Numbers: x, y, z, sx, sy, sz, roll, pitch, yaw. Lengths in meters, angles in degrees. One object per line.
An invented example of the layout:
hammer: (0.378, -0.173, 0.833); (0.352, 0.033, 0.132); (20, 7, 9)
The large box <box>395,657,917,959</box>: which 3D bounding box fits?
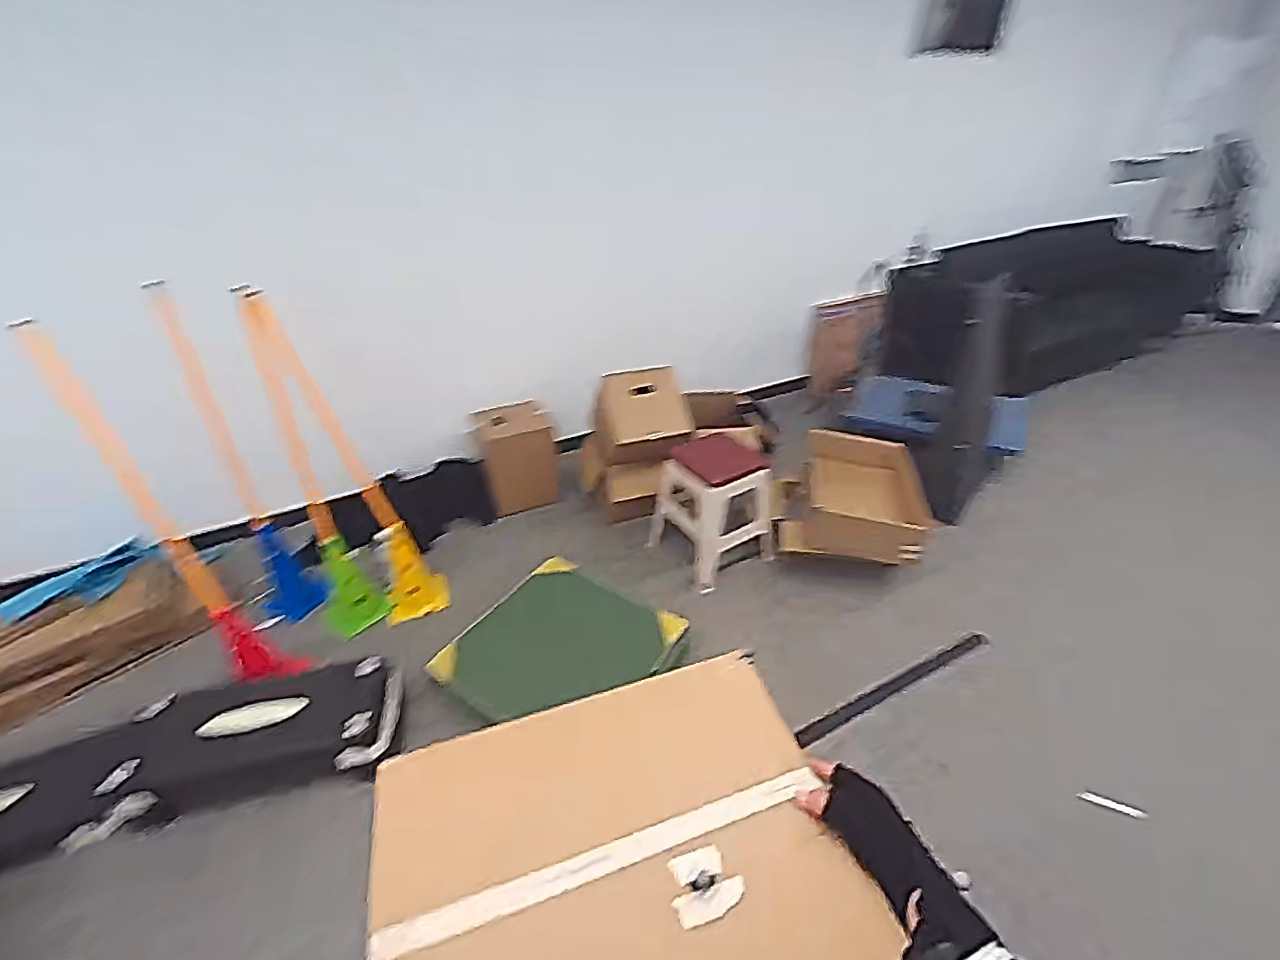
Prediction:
large box: (-0.010, 0.459, 0.578); (0.408, 0.320, 0.320); (-12, 38, -13)
